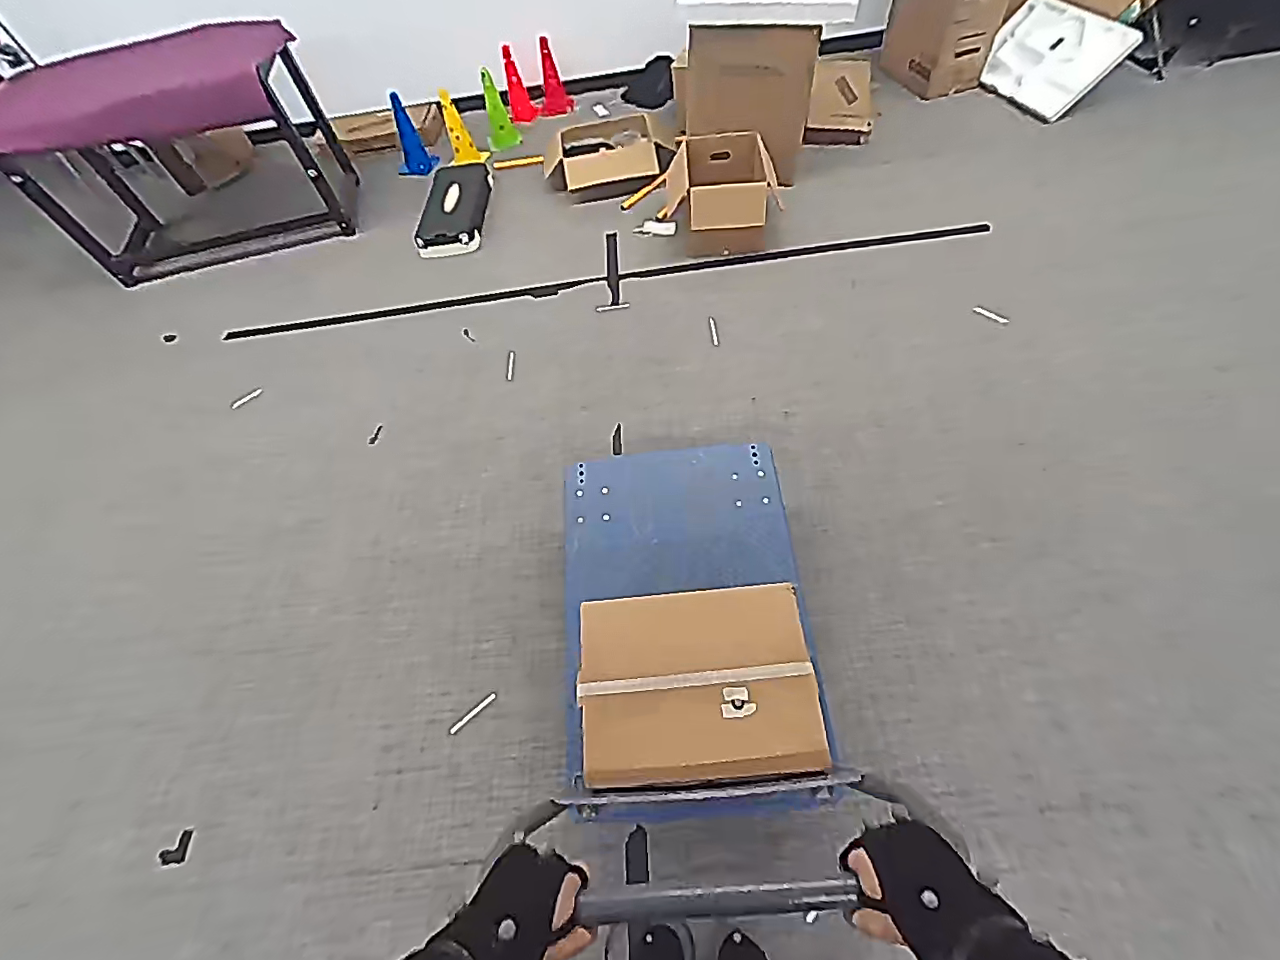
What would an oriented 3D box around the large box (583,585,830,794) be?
[{"bbox_3d":[0.113,0.428,1.089,0.408,0.320,0.320,-7,63,2],"label":"large box"}]
